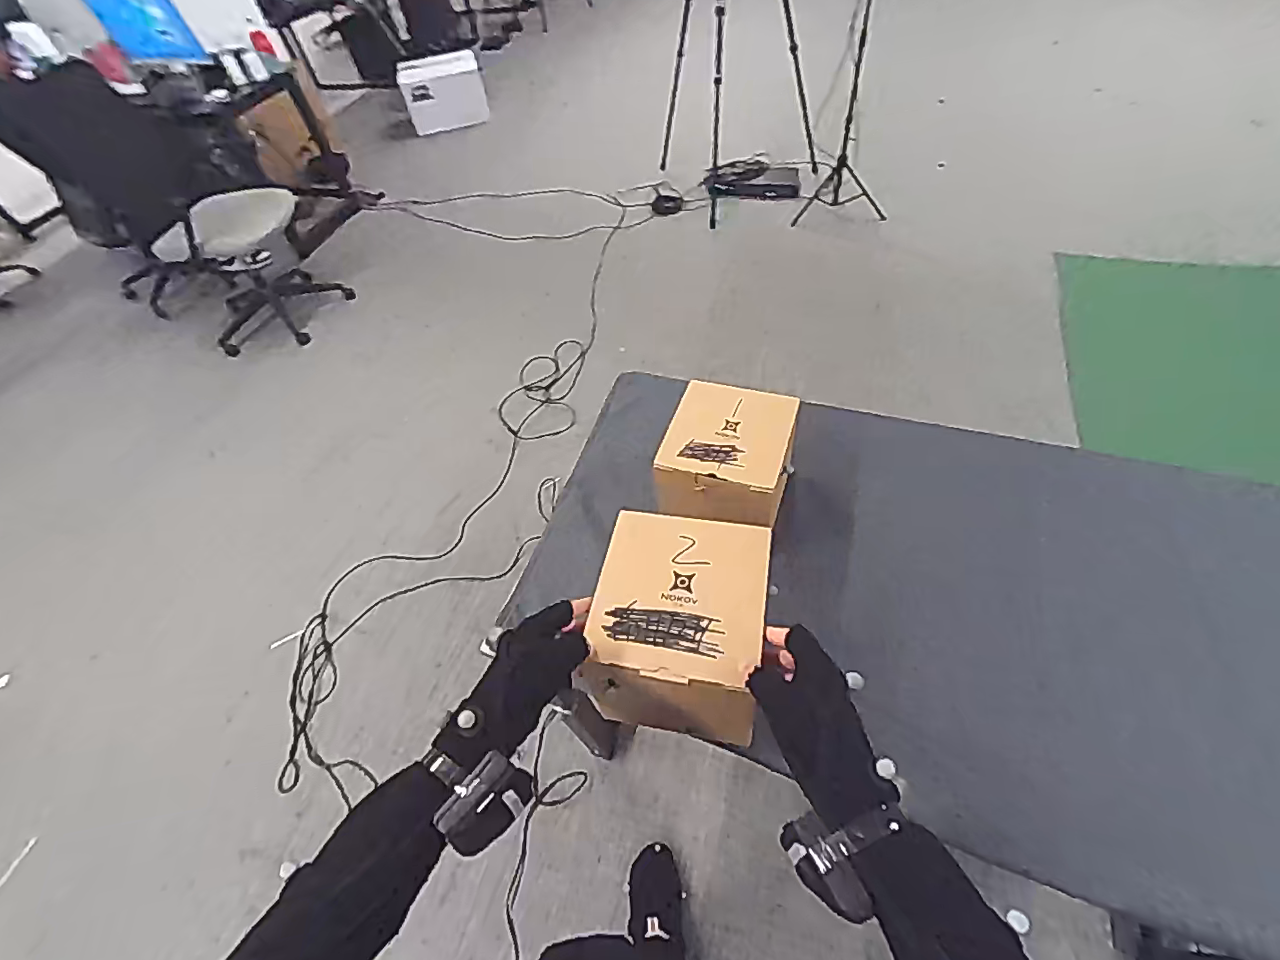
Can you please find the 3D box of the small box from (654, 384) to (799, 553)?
[{"bbox_3d":[0.132,-0.015,0.816,0.168,0.176,0.179,13,55,17],"label":"small box"}]
